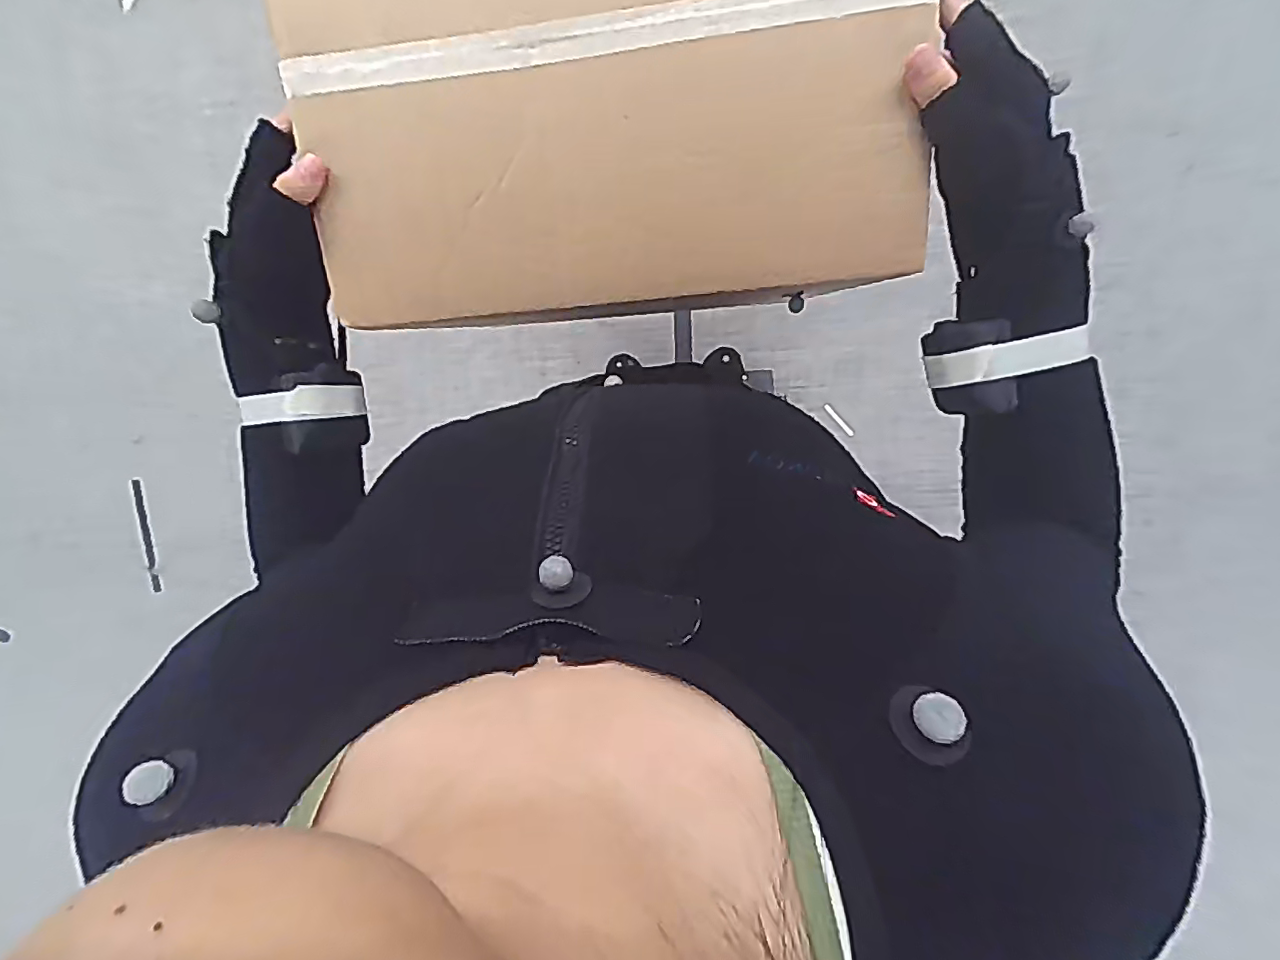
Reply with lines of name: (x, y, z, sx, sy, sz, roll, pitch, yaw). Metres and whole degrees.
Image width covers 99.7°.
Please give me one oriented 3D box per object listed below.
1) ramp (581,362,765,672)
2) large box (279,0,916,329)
ramp: (0.123, 0.164, 1.609, 0.509, 0.206, 0.991, -5, 101, 4)
large box: (-0.019, -0.317, 0.484, 0.408, 0.320, 0.320, -4, 105, 5)
